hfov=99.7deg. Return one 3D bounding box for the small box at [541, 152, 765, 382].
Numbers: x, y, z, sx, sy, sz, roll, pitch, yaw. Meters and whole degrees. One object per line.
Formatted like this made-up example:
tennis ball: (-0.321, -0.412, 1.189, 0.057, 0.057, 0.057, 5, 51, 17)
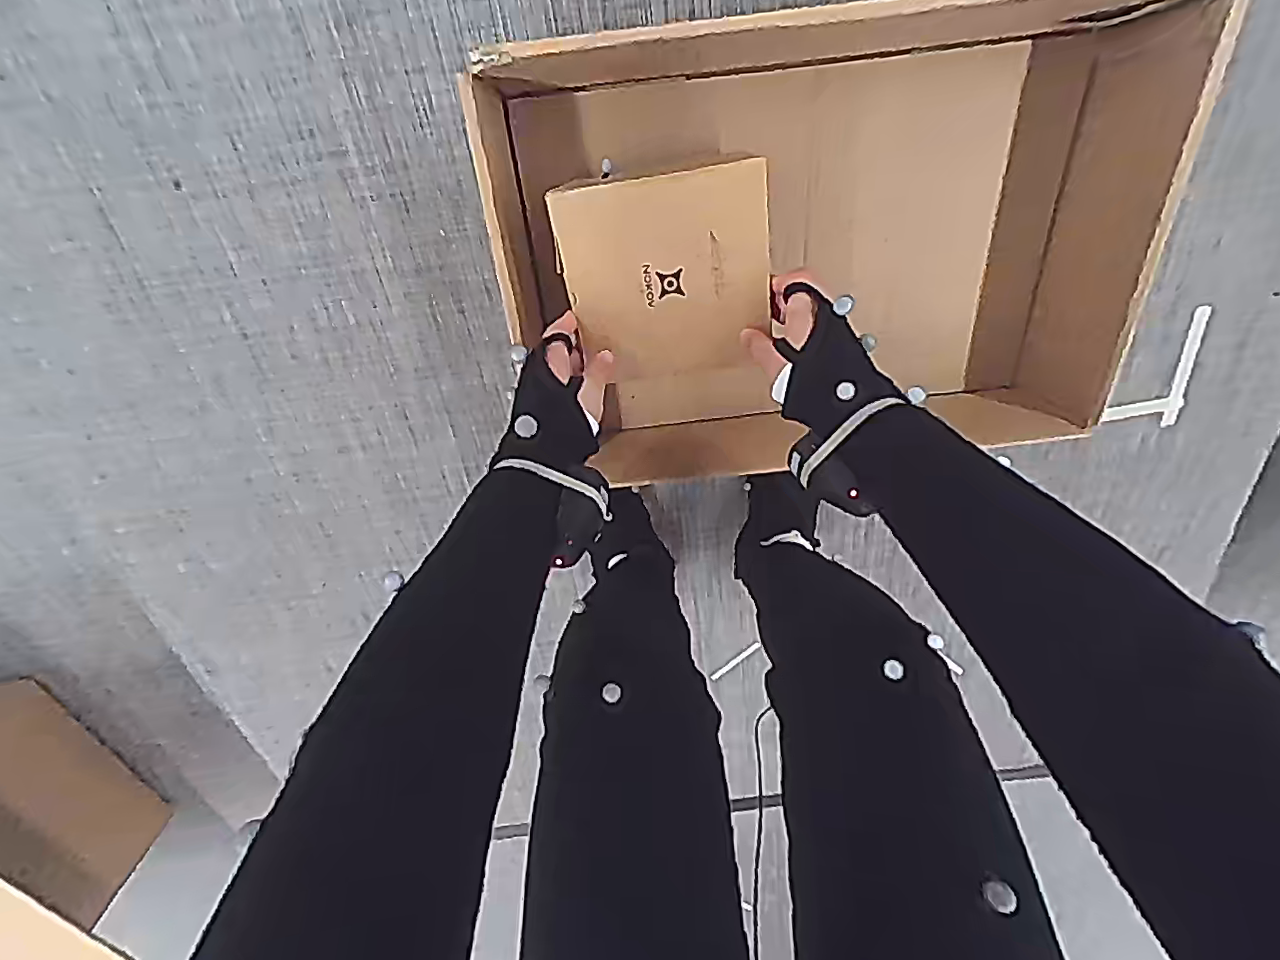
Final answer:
small box: (0.023, -0.212, 0.531, 0.179, 0.176, 0.168, -6, 122, 8)
